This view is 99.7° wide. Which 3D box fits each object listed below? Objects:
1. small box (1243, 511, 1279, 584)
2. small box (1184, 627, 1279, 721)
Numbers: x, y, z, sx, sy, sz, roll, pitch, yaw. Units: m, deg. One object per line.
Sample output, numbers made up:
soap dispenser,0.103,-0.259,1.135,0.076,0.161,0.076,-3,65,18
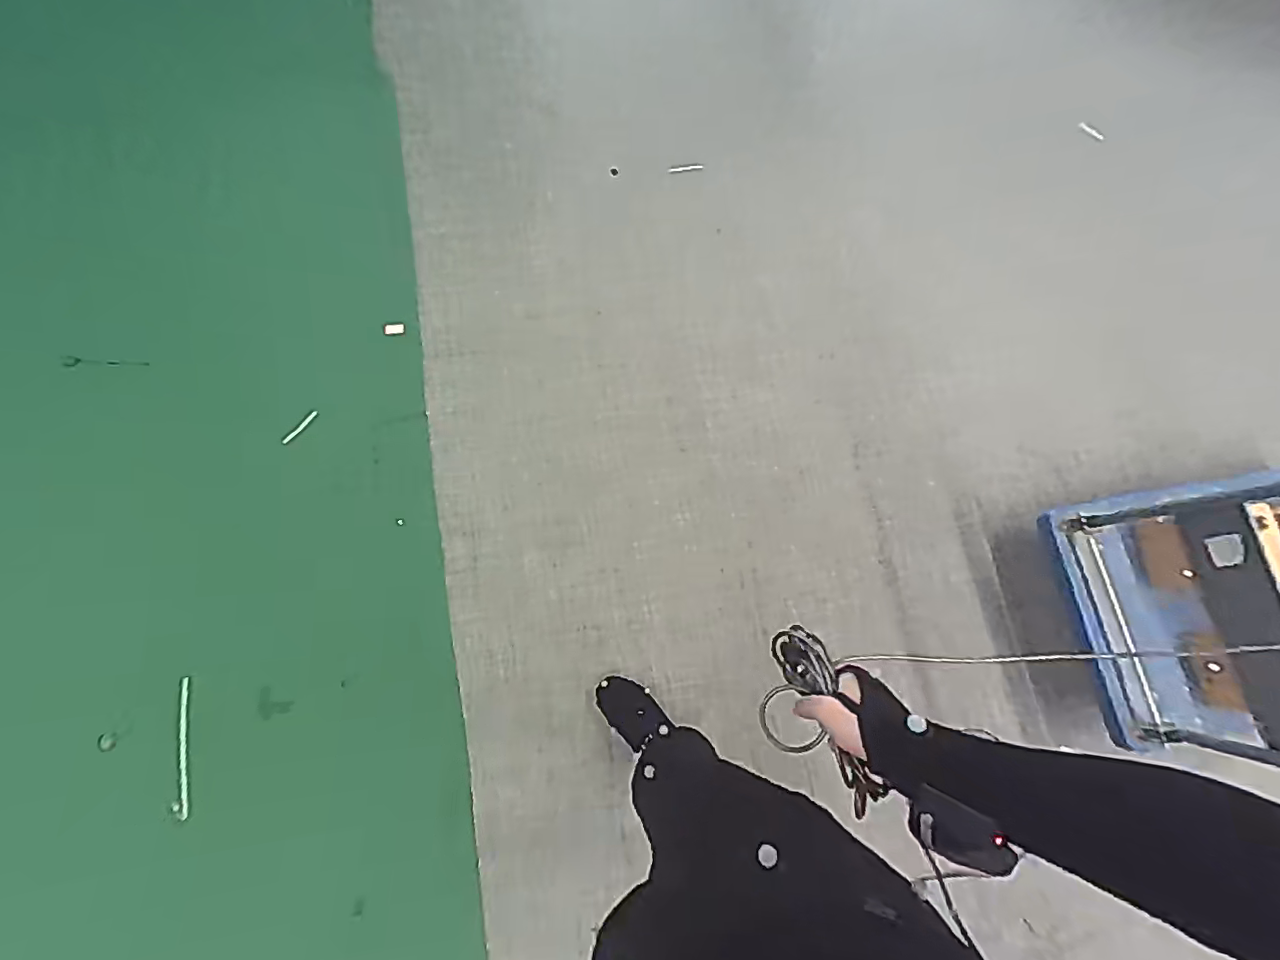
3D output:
small box,1.598,0.147,1.273,0.179,0.176,0.168,-12,78,-5
small box,1.393,0.424,1.202,0.179,0.176,0.168,-8,77,-3
